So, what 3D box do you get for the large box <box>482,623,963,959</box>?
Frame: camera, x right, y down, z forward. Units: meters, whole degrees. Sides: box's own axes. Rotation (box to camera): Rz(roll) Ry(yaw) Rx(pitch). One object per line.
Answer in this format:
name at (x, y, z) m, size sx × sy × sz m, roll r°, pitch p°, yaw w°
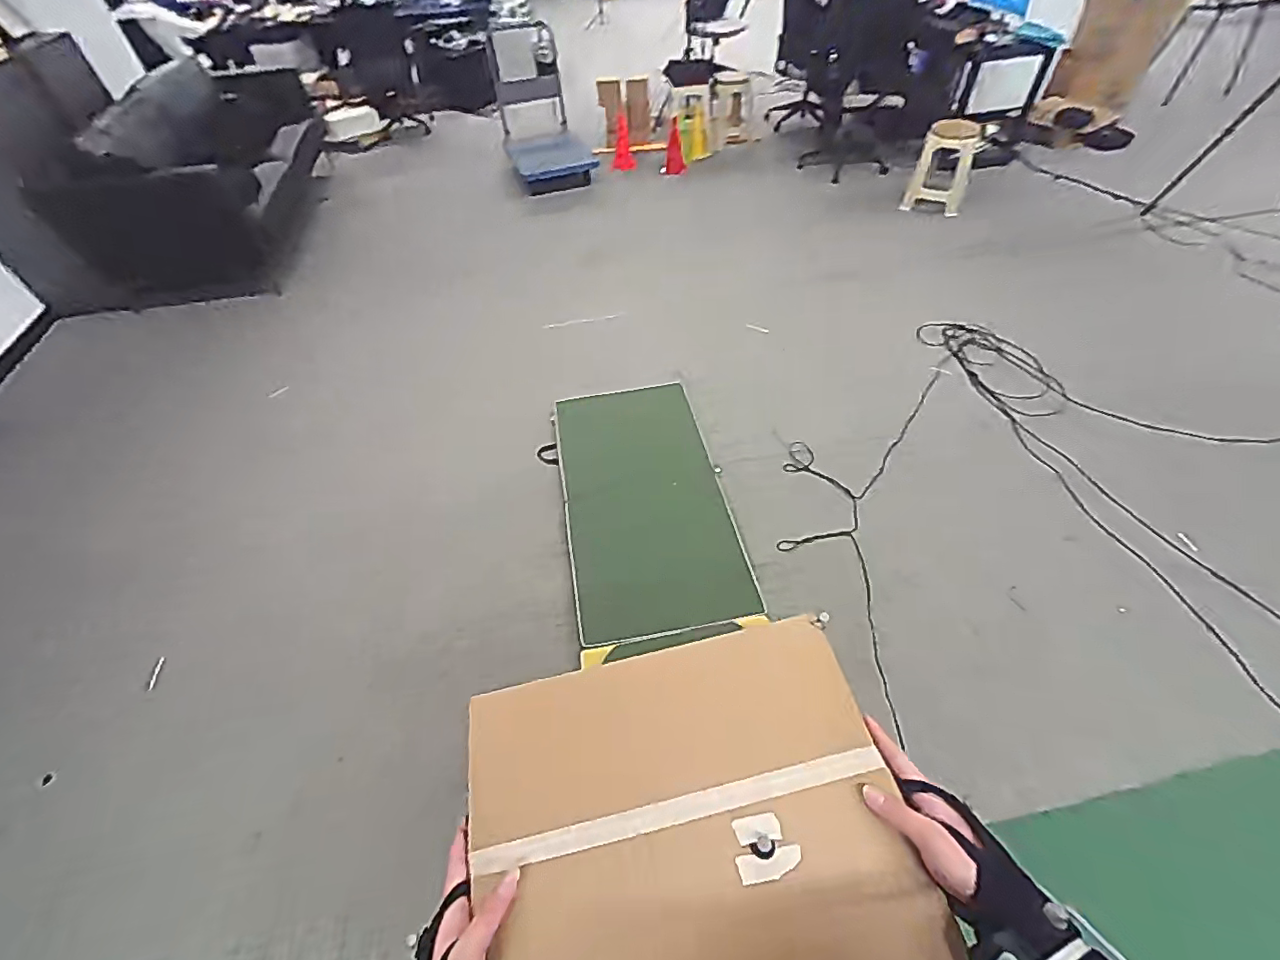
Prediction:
large box at (0.060, 0.421, 0.641) m, size 0.408 × 0.320 × 0.320 m, roll -13°, pitch 51°, yaw -3°
